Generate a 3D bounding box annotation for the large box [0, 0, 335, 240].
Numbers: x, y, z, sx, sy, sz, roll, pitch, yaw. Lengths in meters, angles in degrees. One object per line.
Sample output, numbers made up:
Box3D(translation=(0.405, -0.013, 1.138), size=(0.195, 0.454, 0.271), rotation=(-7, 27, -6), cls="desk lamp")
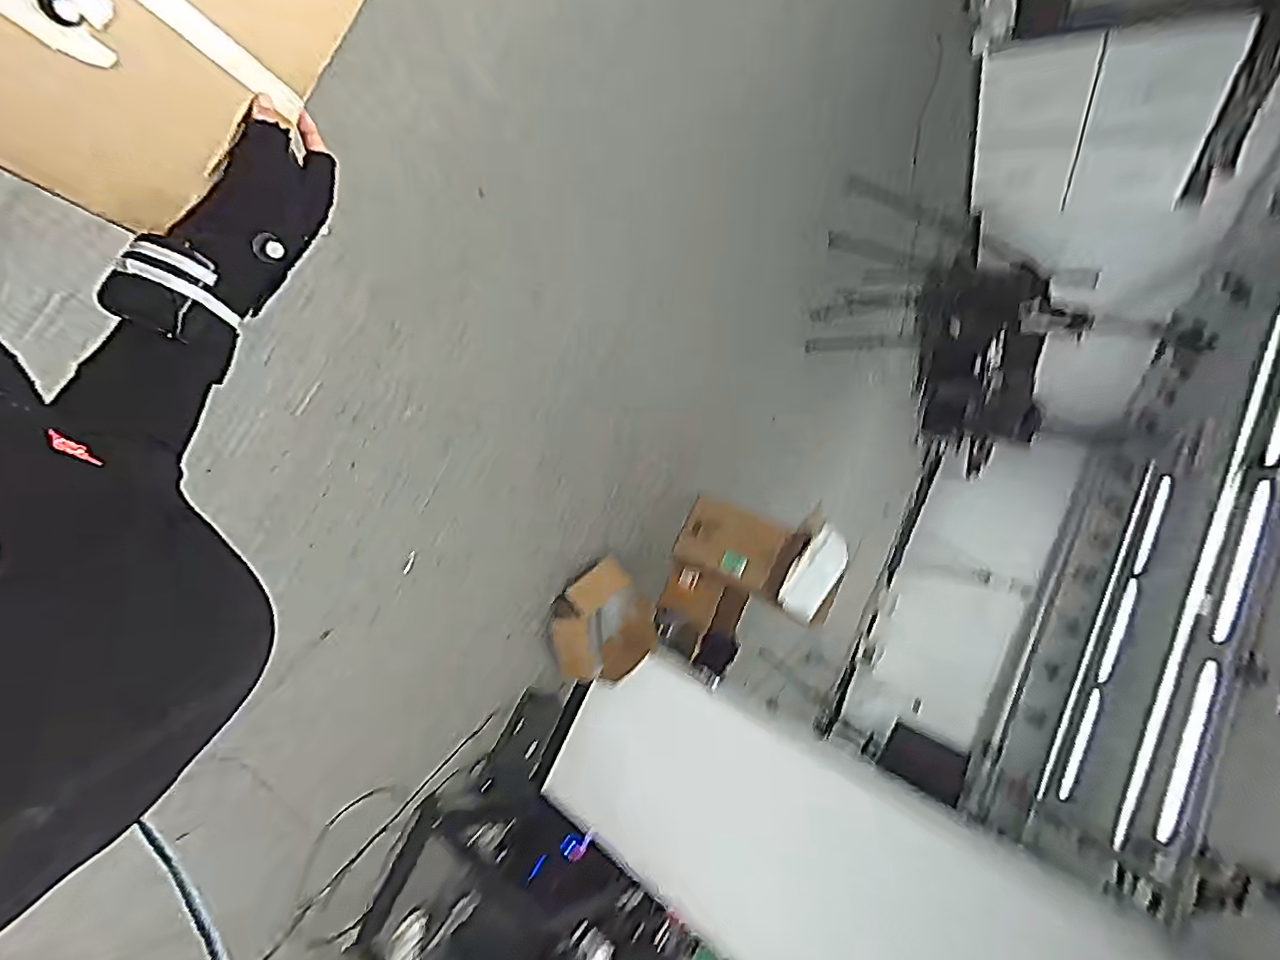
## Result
Box3D(translation=(-0.498, -0.444, 0.356), size=(0.320, 0.320, 0.408), rotation=(-57, 153, 5), cls="large box")
